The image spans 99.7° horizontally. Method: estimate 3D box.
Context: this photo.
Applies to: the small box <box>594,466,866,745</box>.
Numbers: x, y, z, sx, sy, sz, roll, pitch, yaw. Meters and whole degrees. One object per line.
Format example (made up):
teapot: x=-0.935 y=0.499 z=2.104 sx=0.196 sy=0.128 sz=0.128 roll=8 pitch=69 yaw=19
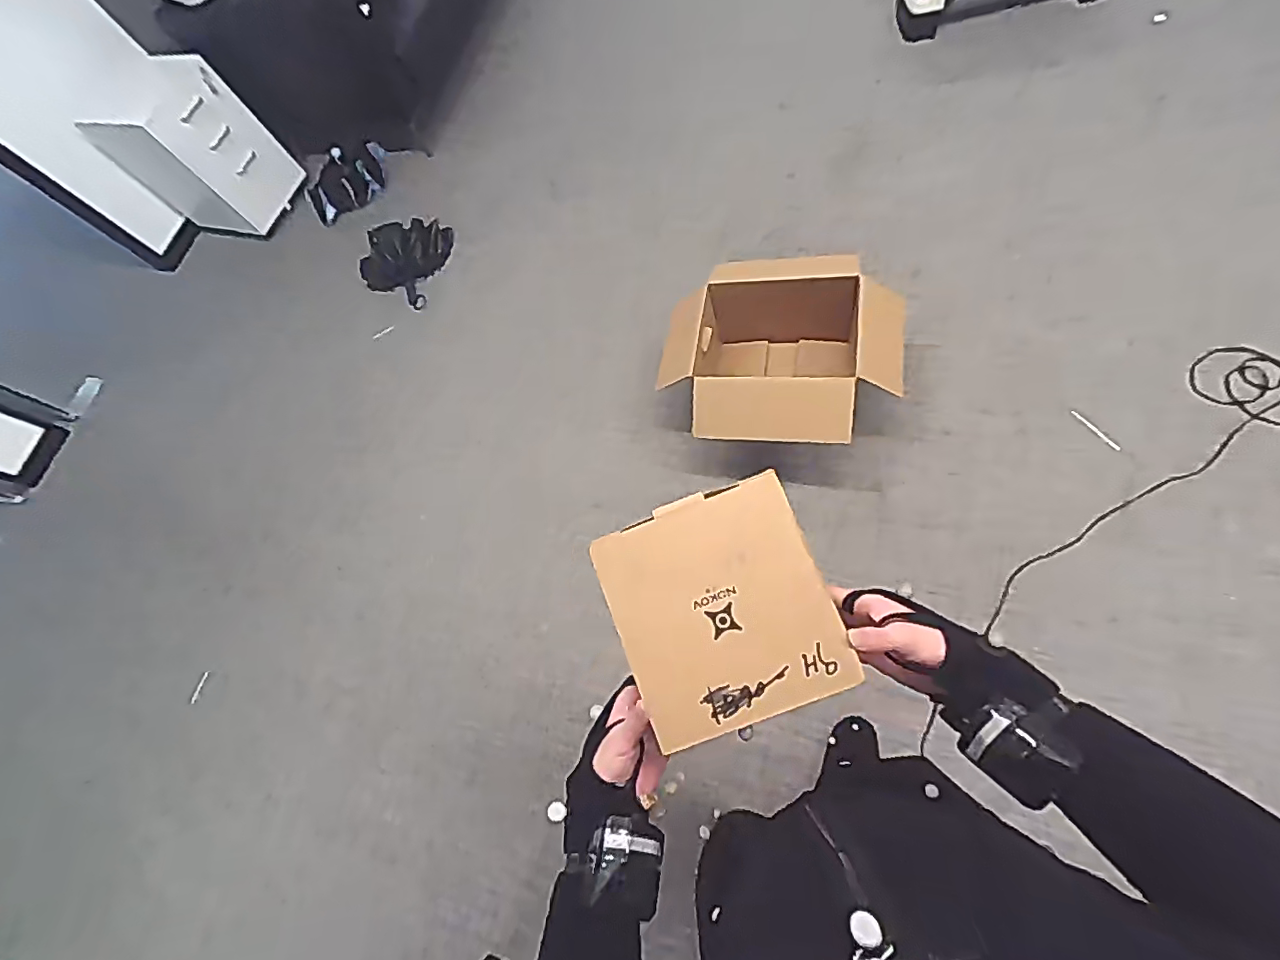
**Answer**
small box: x=0.076 y=0.109 z=0.500 sx=0.168 sy=0.176 sz=0.179 roll=-22 pitch=78 yaw=5
